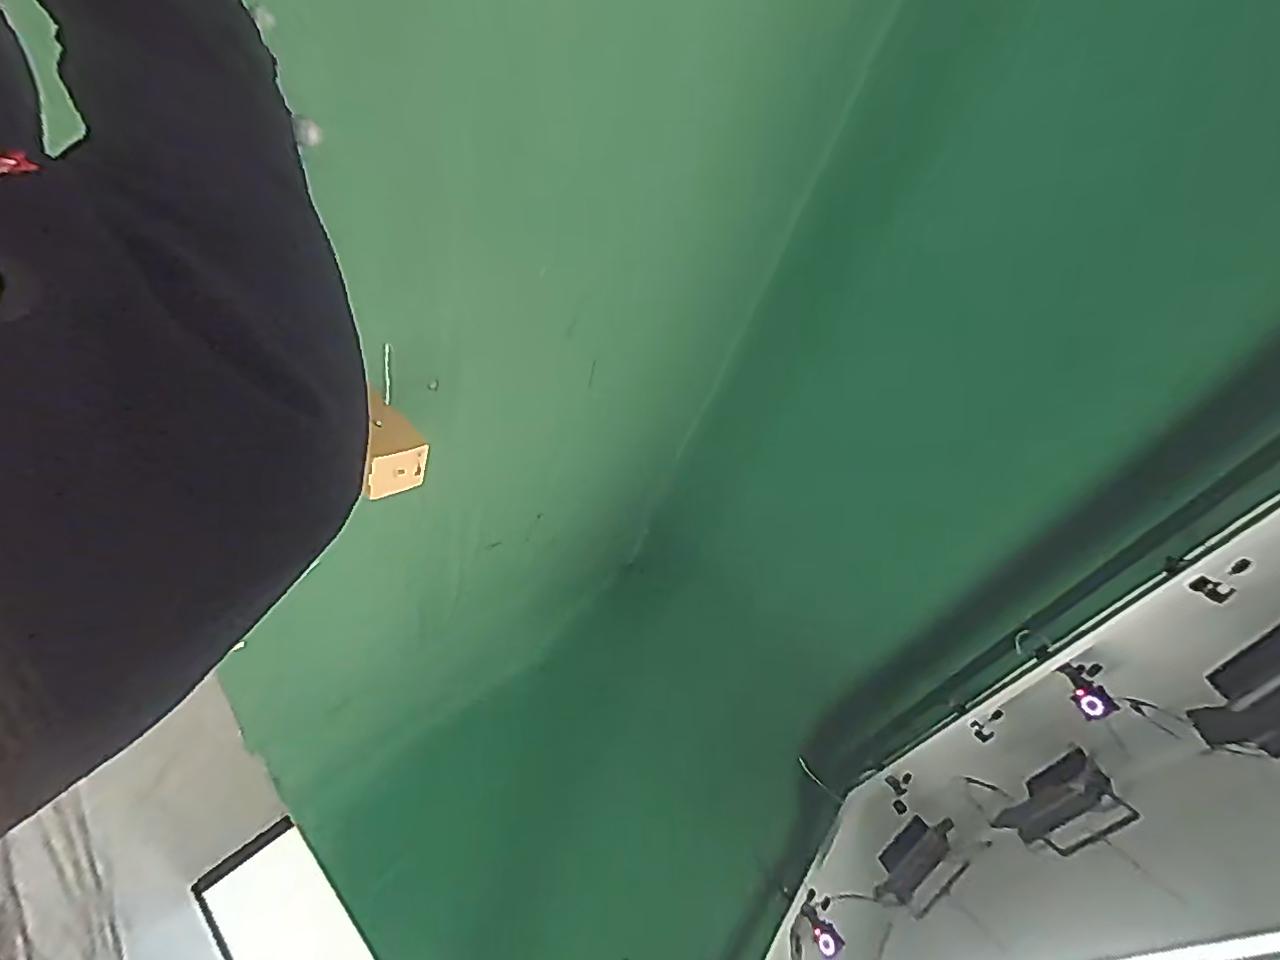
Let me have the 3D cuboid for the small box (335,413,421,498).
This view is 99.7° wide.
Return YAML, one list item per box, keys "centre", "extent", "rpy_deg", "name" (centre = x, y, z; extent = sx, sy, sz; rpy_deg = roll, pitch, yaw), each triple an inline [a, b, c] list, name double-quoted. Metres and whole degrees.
- centre: [-0.792, -0.079, 1.618]
  extent: [0.179, 0.176, 0.168]
  rpy_deg: [-24, 149, -48]
  name: "small box"
